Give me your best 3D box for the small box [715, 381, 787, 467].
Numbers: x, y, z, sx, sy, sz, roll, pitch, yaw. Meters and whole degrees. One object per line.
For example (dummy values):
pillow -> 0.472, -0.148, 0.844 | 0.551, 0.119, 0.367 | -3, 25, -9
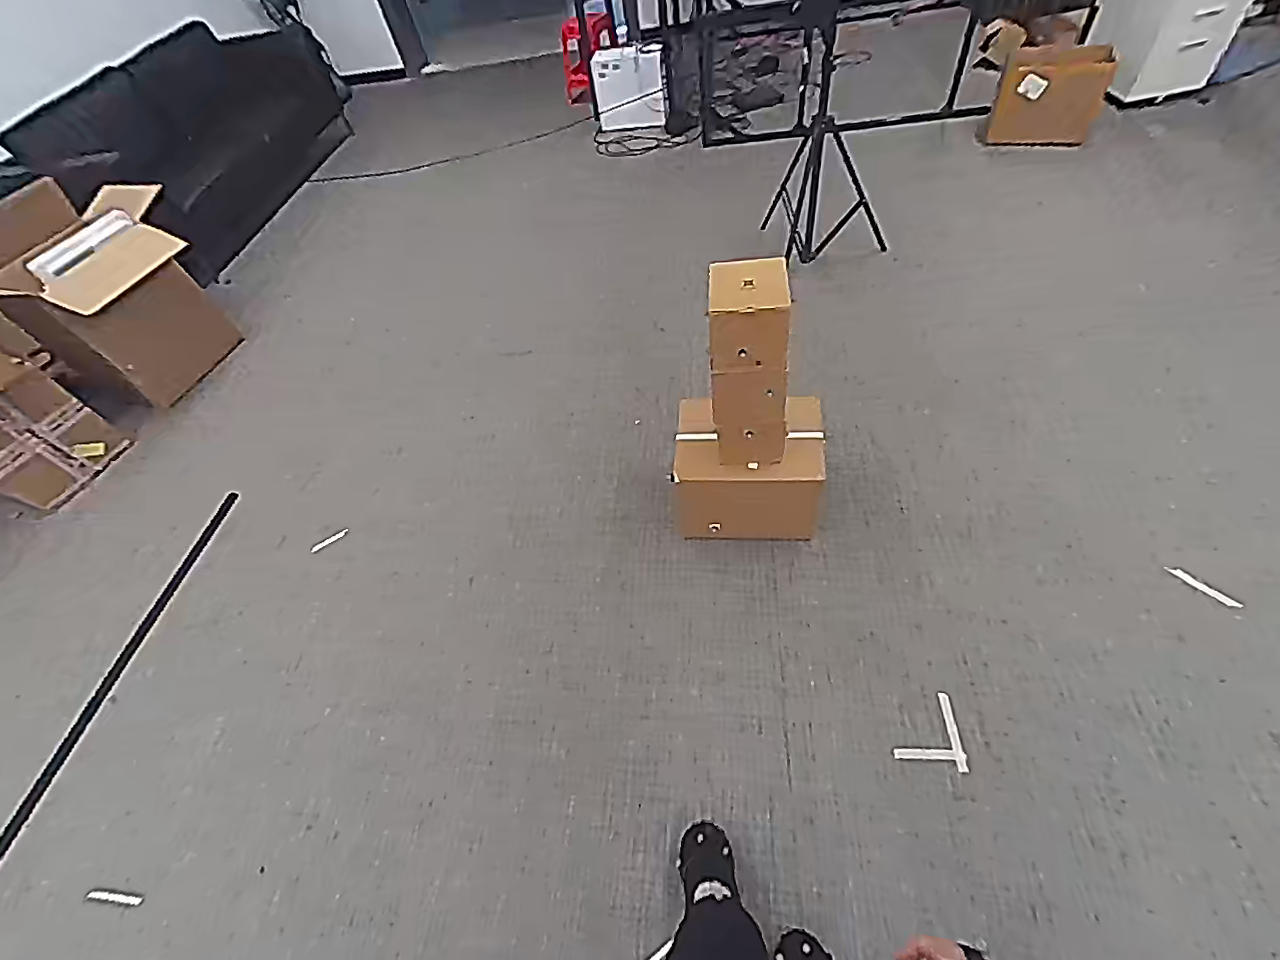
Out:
small box -> 0.294, -0.146, 1.451 | 0.179, 0.176, 0.168 | -1, 54, 8

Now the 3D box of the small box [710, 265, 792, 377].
small box -> 0.240, -0.350, 1.201 | 0.168, 0.176, 0.179 | -1, 54, 9
